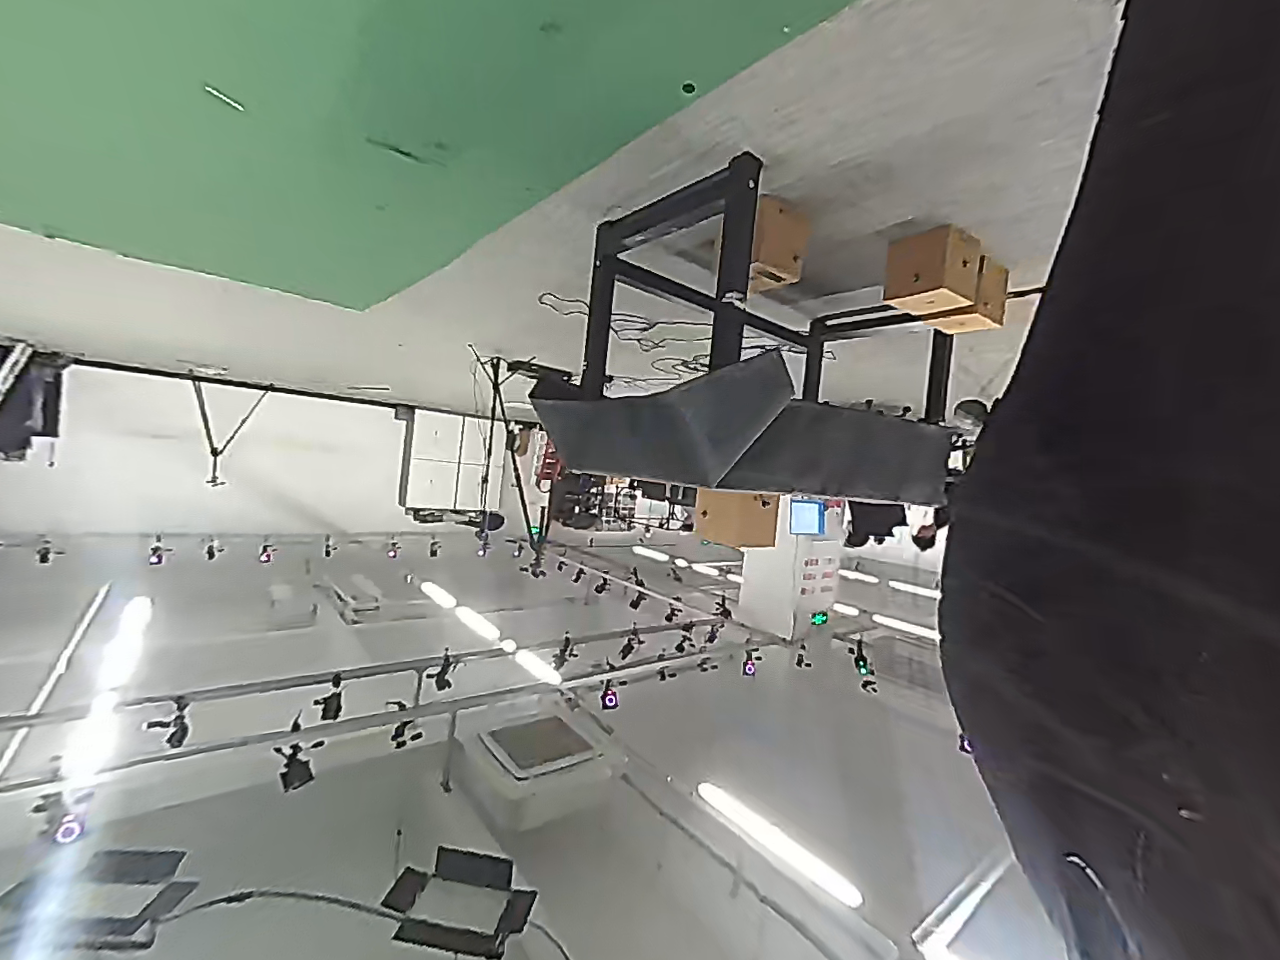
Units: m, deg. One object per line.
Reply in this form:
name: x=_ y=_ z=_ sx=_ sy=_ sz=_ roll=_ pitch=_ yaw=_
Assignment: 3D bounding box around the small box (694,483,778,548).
small box: x=0.281 y=0.099 z=1.564 sx=0.168 sy=0.176 sz=0.179 roll=3 pitch=-177 yaw=-37
